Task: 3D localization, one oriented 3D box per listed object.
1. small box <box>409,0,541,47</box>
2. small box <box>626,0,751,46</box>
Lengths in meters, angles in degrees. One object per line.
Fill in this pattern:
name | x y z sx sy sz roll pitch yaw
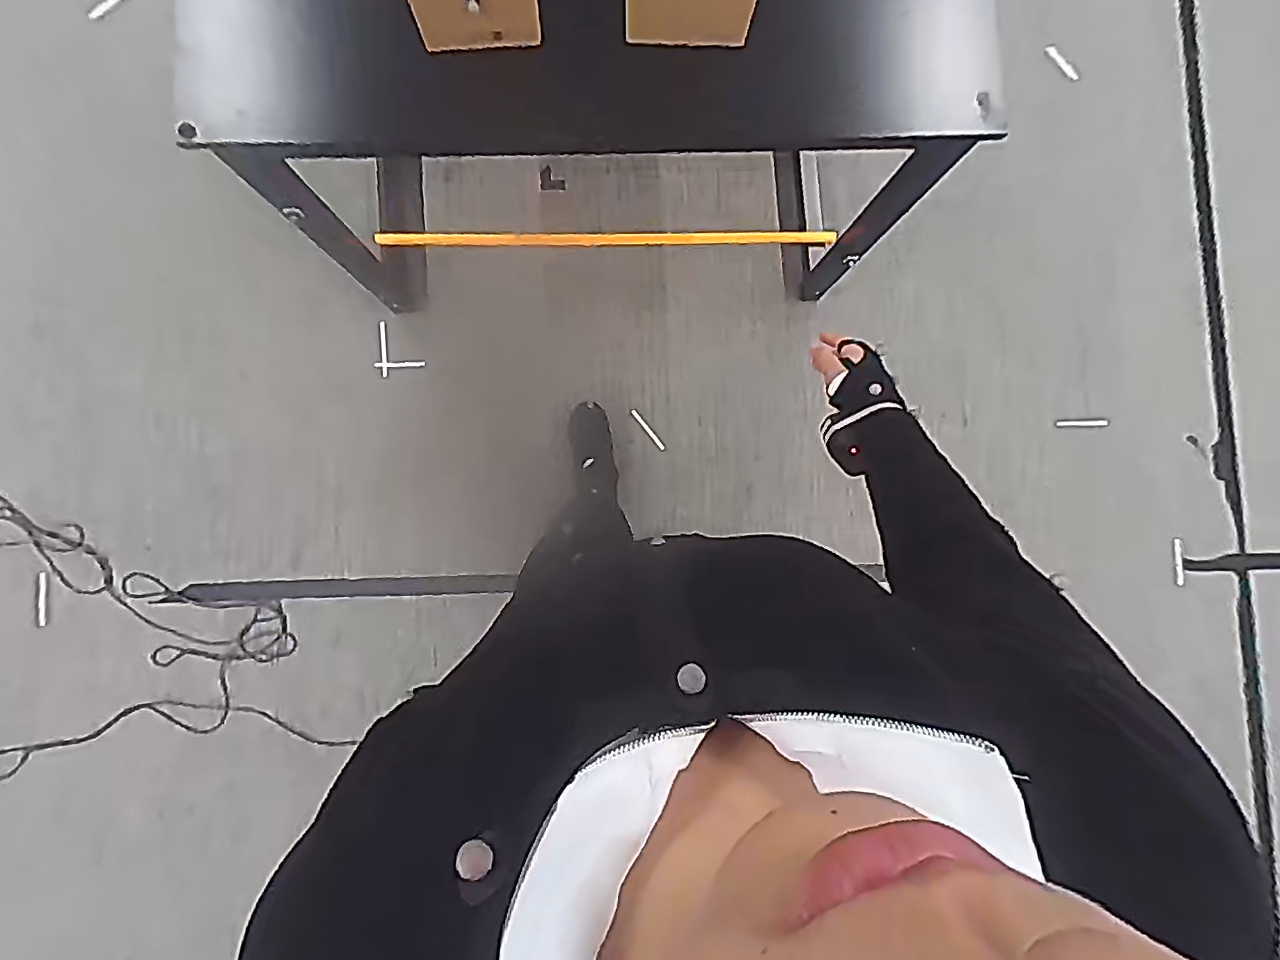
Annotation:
small box | -0.230 -0.714 0.712 0.168 0.176 0.179 -7 88 -3
small box | 0.068 -0.730 0.728 0.179 0.176 0.168 -1 87 -4
